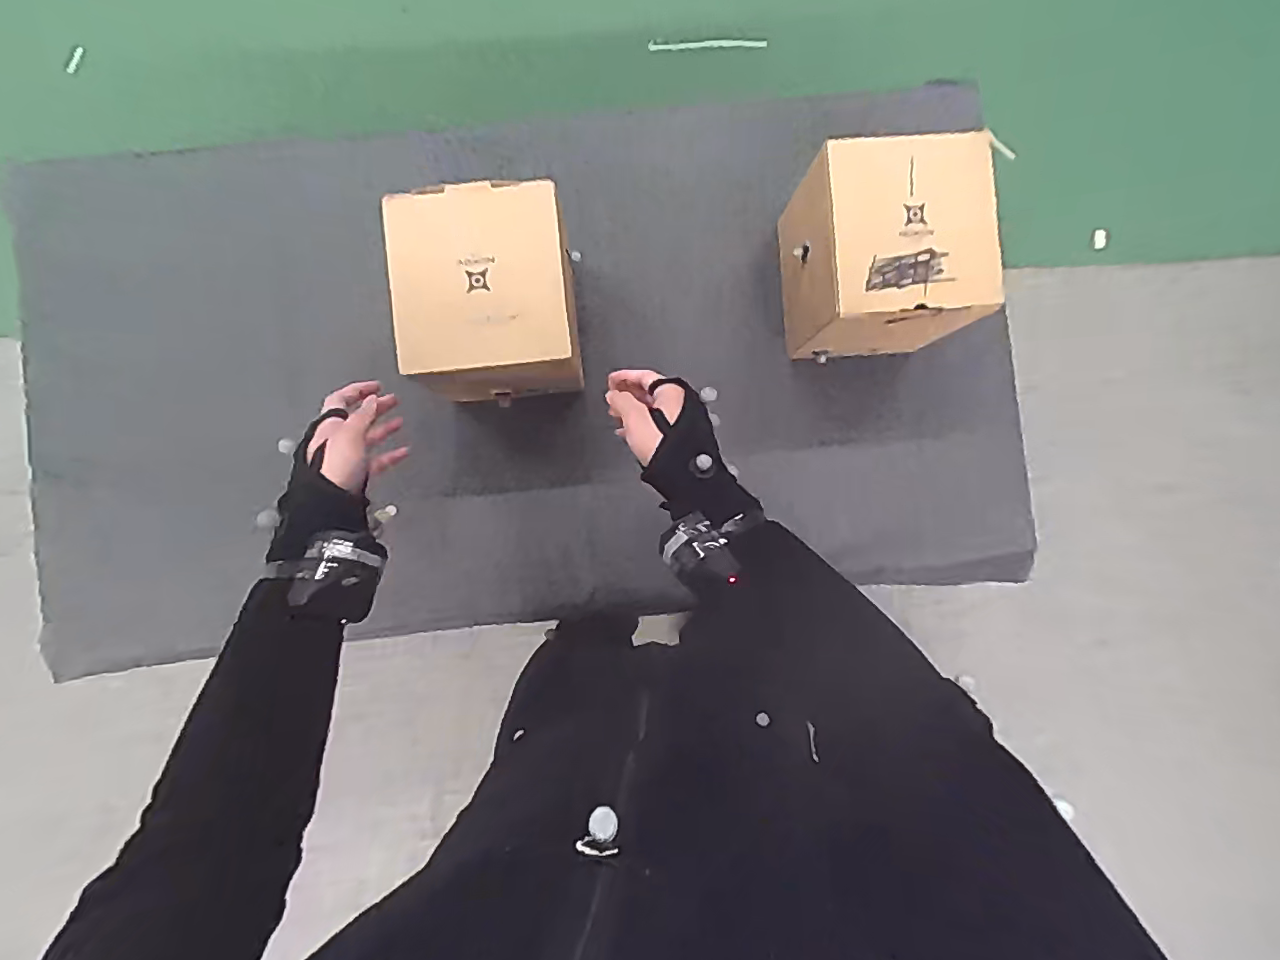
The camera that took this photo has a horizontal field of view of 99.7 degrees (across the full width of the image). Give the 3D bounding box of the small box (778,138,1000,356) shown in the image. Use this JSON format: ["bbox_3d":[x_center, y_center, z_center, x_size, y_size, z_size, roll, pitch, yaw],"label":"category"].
[{"bbox_3d":[0.262,-0.242,0.606,0.168,0.176,0.179,-4,88,-2],"label":"small box"}]

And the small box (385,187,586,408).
[{"bbox_3d":[-0.154,-0.184,0.591,0.168,0.176,0.179,-7,90,-1],"label":"small box"}]
